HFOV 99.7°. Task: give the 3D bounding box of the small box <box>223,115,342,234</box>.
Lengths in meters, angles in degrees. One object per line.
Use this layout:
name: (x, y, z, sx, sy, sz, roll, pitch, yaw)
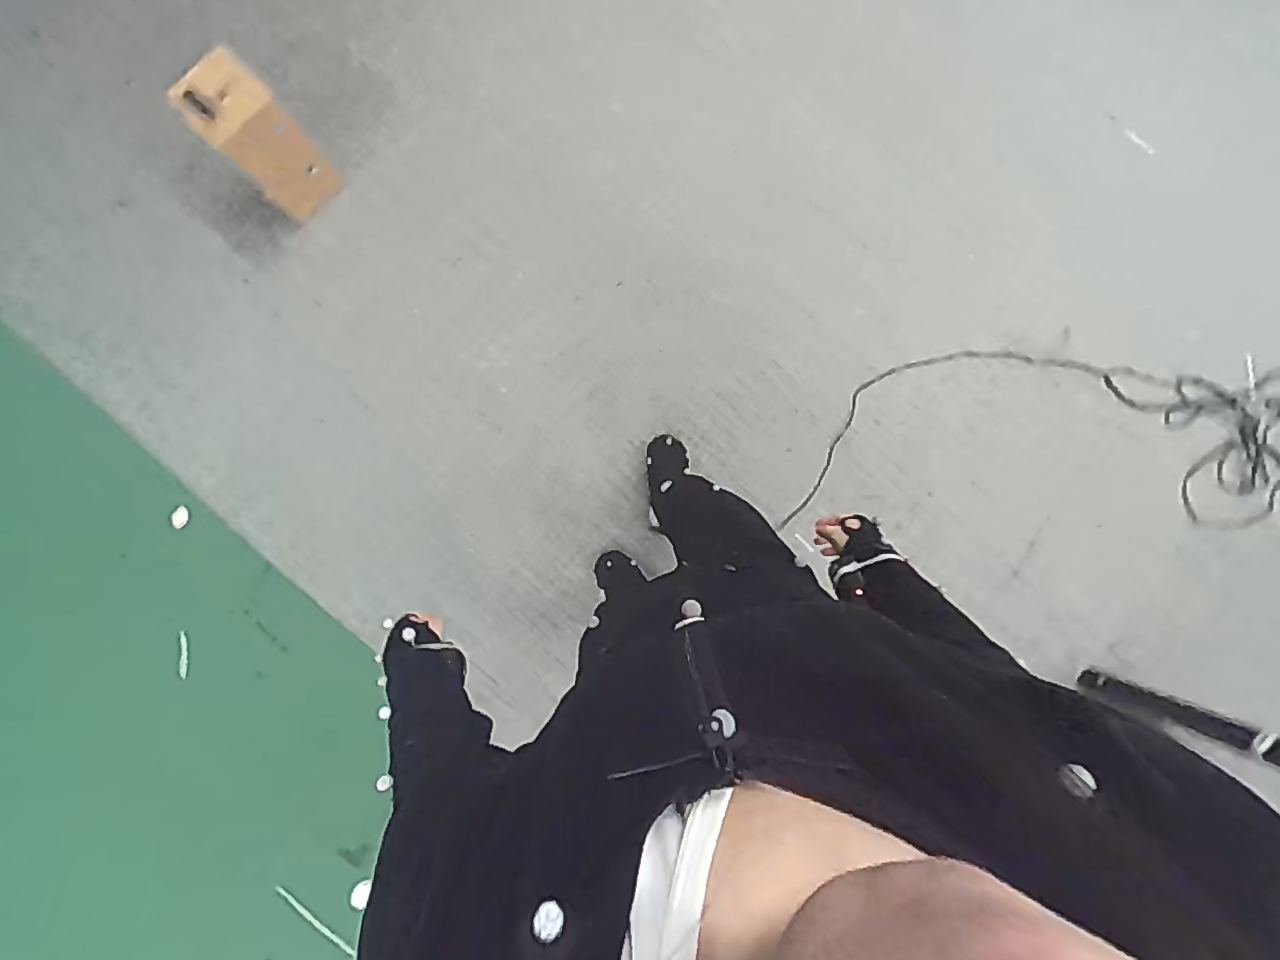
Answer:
small box: (-0.931, -0.802, 1.436, 0.179, 0.176, 0.168, -44, 90, -2)
